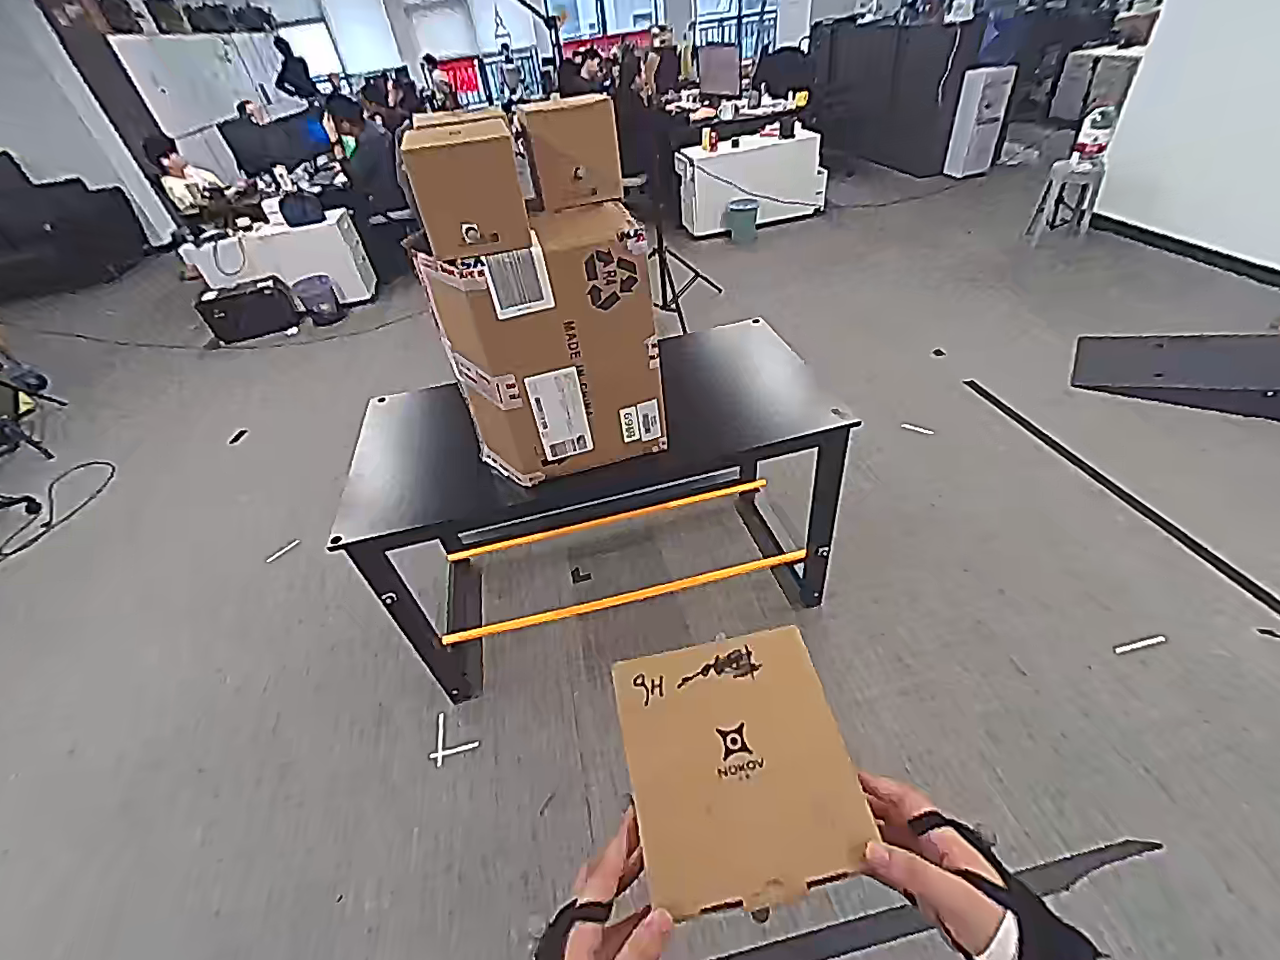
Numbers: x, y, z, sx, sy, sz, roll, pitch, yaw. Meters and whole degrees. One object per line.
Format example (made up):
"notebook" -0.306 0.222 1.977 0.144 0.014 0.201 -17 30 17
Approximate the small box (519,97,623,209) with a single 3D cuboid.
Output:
"small box" -0.139 -0.663 1.097 0.168 0.176 0.179 -15 40 -8

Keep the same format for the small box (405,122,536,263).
"small box" -0.283 -0.488 0.917 0.168 0.176 0.179 -15 43 -9
